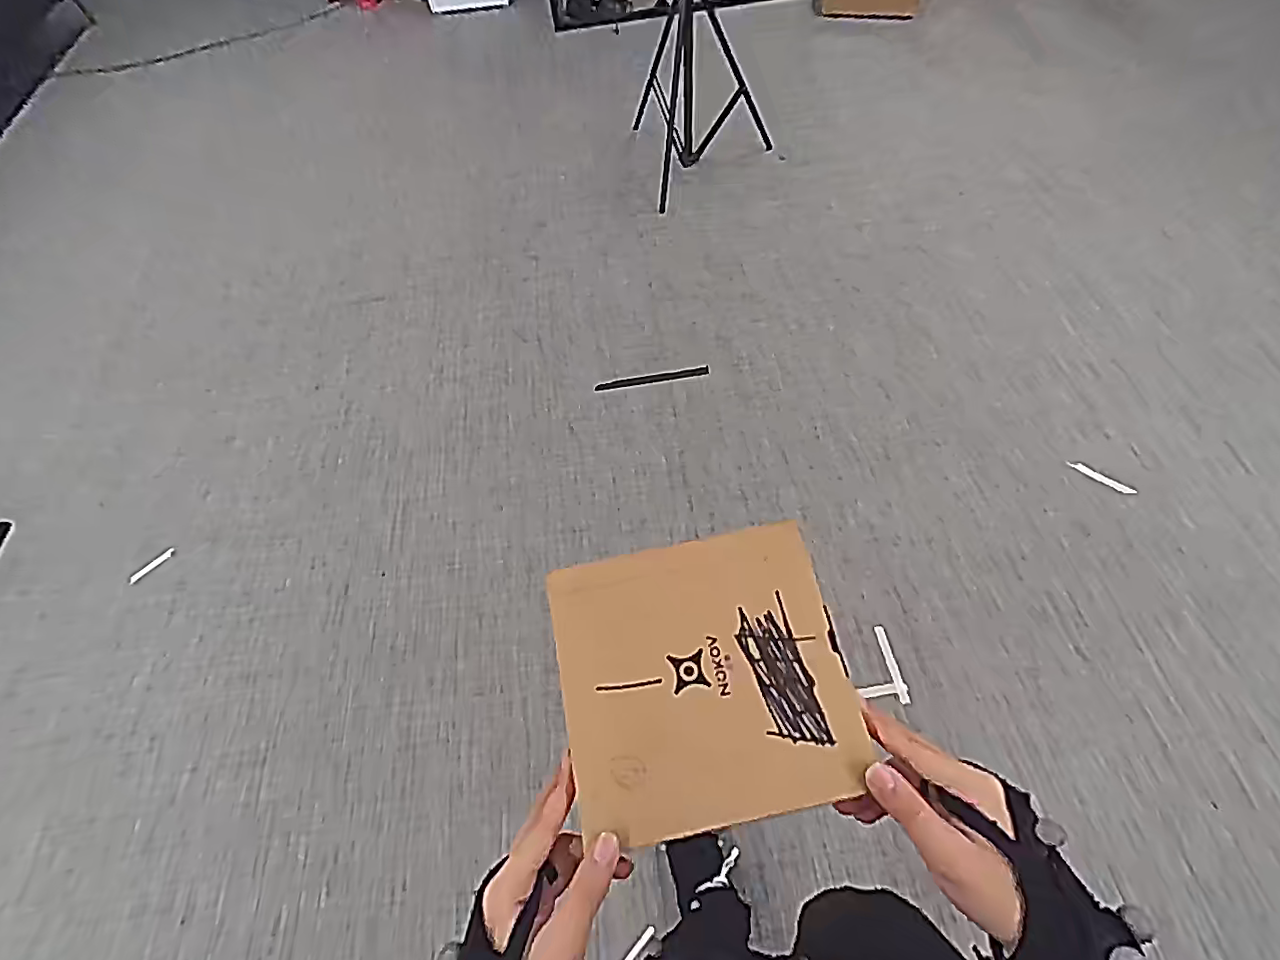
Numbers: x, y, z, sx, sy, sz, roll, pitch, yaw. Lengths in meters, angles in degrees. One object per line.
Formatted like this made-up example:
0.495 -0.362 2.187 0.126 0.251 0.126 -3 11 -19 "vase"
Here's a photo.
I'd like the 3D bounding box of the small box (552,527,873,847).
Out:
0.041 0.151 0.415 0.179 0.176 0.168 -11 67 -2 "small box"
